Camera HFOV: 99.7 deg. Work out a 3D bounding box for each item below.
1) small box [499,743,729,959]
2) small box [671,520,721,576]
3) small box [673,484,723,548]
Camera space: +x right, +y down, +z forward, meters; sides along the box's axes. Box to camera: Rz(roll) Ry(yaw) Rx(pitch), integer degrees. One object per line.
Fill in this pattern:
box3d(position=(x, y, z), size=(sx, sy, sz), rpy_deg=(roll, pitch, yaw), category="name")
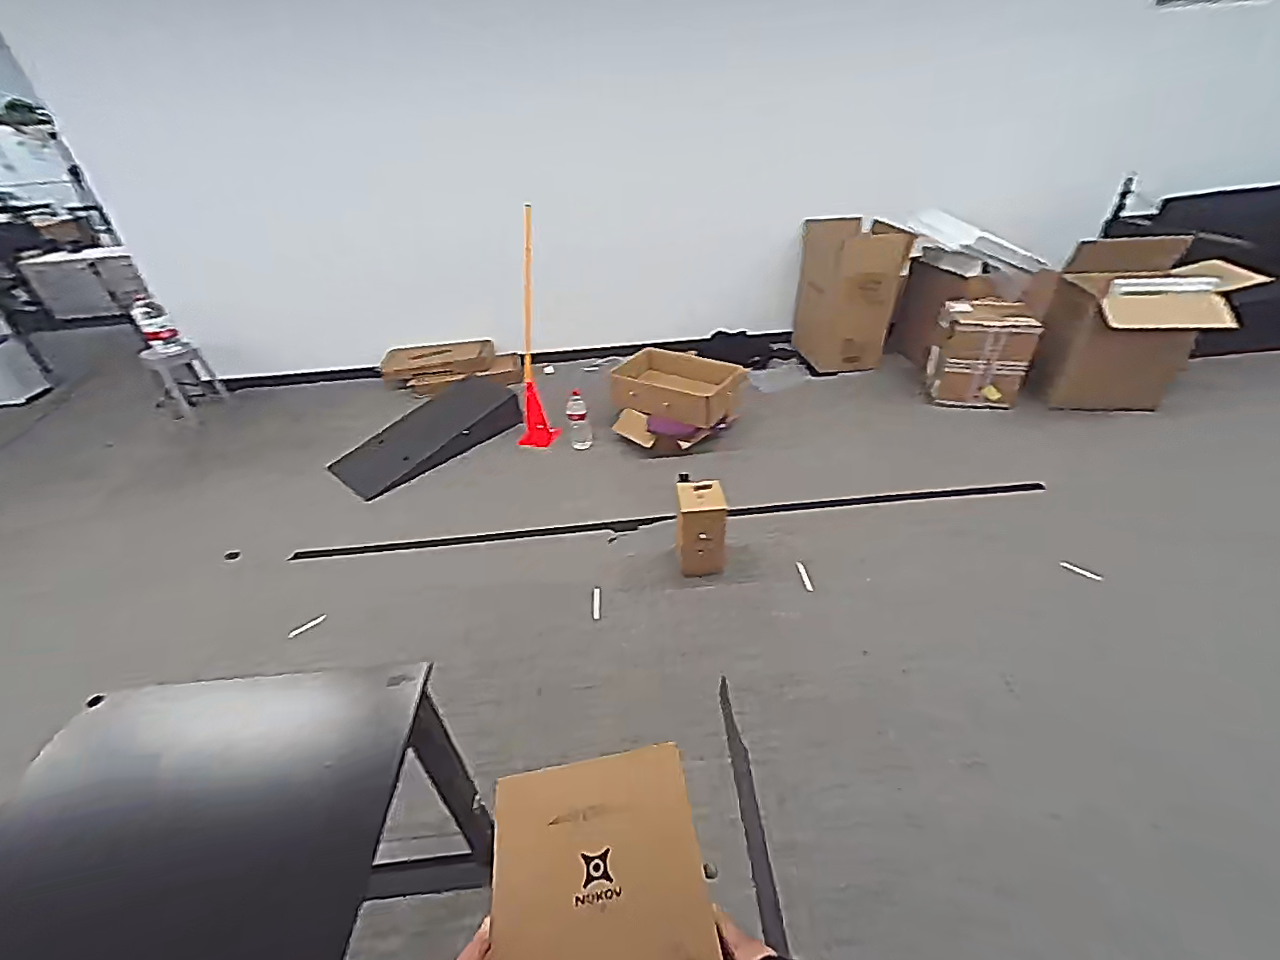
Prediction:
box3d(position=(-0.021, 0.368, 0.474), size=(0.168, 0.176, 0.179), rpy_deg=(-9, 39, -5), category="small box")
box3d(position=(0.220, 0.266, 2.136), size=(0.179, 0.176, 0.168), rpy_deg=(-4, 36, -1), category="small box")
box3d(position=(0.214, 0.134, 2.036), size=(0.168, 0.176, 0.179), rpy_deg=(-5, 36, -1), category="small box")
